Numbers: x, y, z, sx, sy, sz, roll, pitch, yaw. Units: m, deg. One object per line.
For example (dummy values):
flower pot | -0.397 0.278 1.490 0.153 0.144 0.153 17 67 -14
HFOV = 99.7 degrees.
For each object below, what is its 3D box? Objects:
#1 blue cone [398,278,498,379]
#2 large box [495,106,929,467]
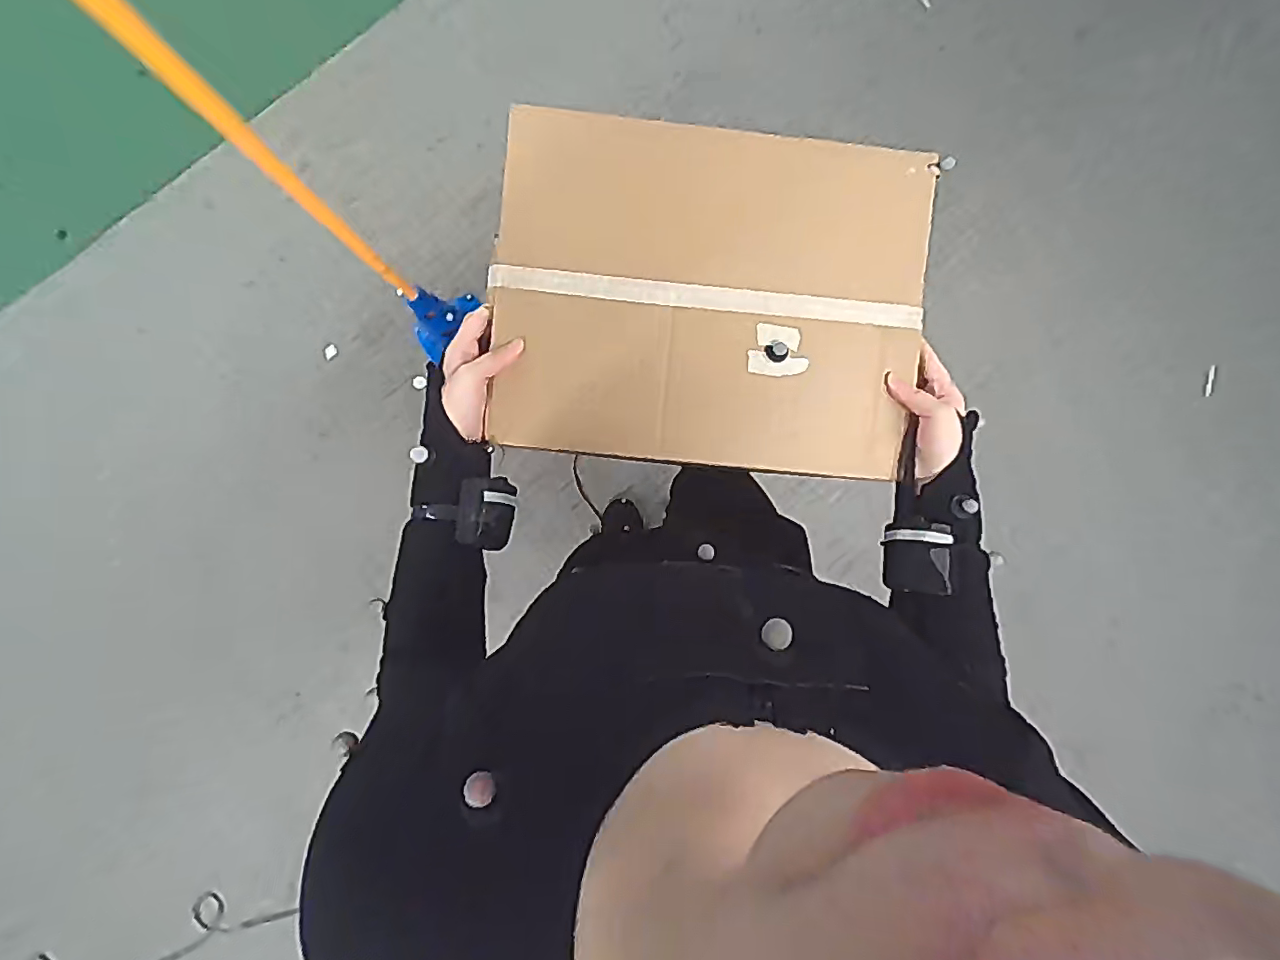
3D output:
blue cone | -0.501 -0.398 1.333 0.193 0.380 0.192 -32 89 -3
large box | 0.061 -0.185 0.664 0.408 0.320 0.320 6 92 -3
